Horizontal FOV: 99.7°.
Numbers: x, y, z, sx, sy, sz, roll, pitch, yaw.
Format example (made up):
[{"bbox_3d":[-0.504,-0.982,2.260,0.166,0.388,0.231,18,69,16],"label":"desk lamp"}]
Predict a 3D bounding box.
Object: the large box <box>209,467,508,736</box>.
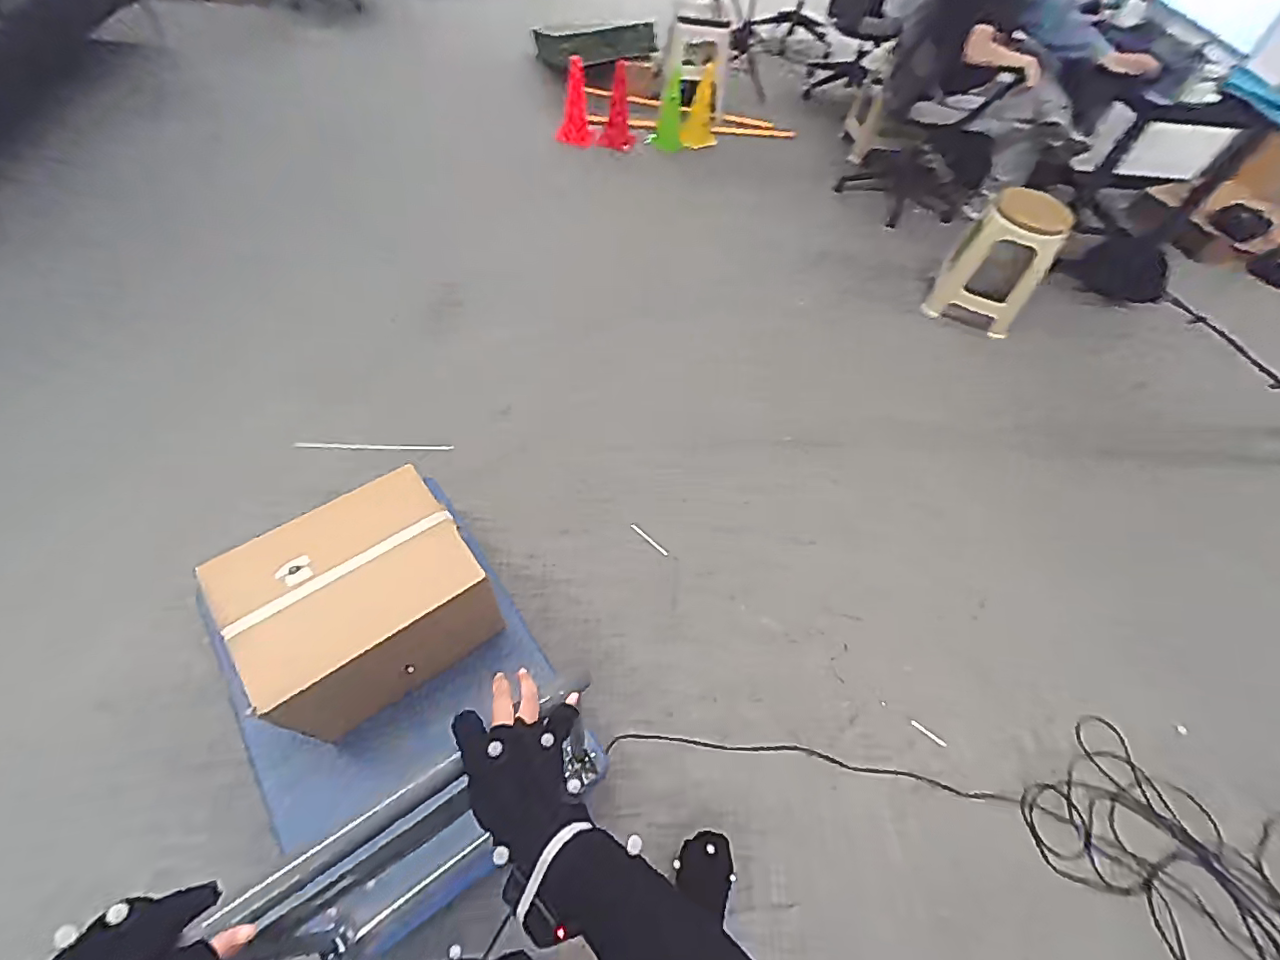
[{"bbox_3d":[-0.539,0.250,1.113,0.408,0.320,0.320,-32,65,-23],"label":"large box"}]
